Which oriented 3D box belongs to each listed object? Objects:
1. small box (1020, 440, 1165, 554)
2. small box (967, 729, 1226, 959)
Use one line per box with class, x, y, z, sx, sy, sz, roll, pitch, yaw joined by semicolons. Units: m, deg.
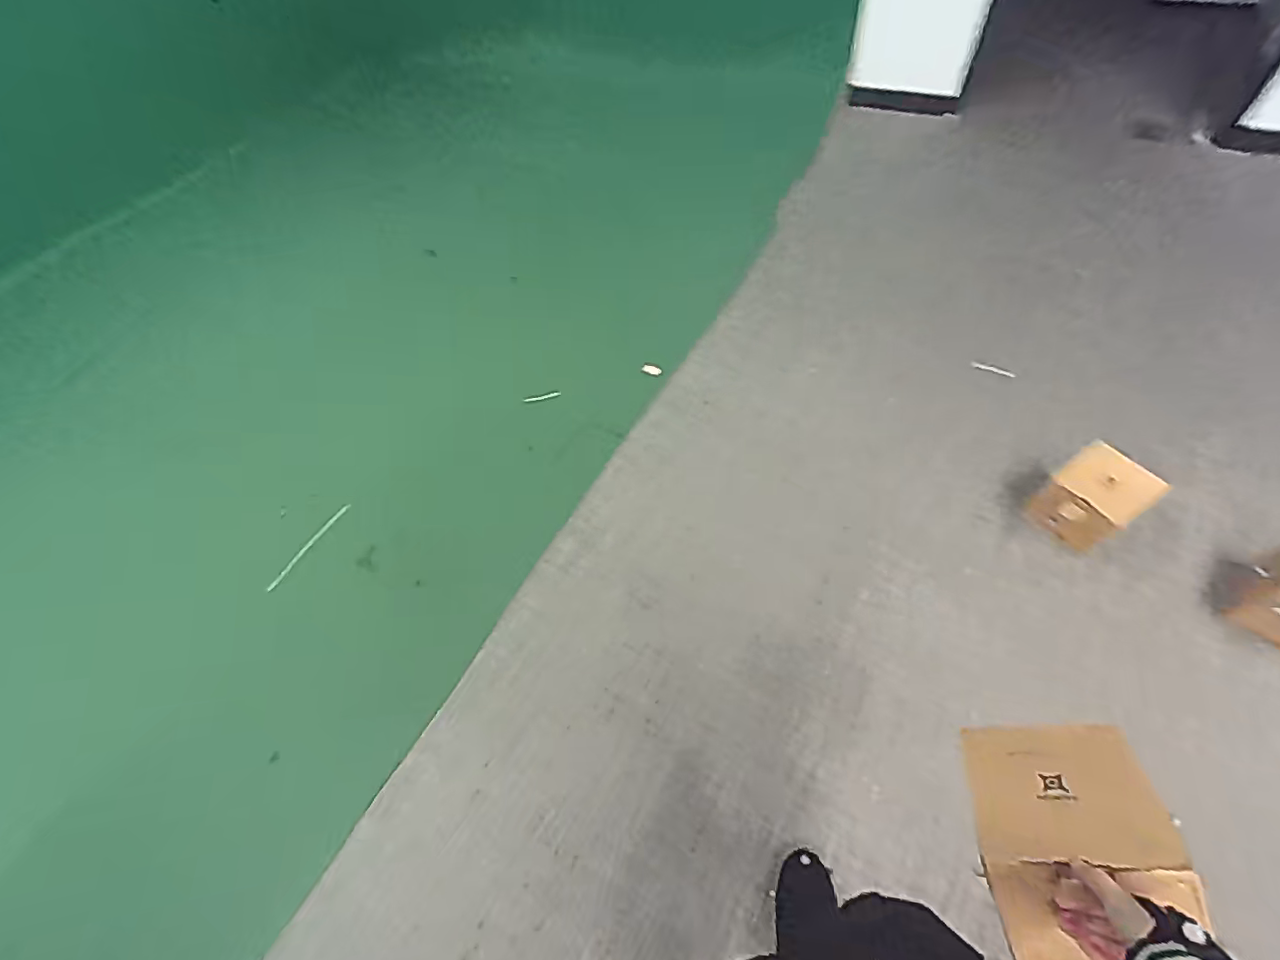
small box;1.062;0.044;1.288;0.179;0.176;0.168;-33;60;-12
small box;0.473;0.399;0.577;0.168;0.176;0.179;-15;14;27
